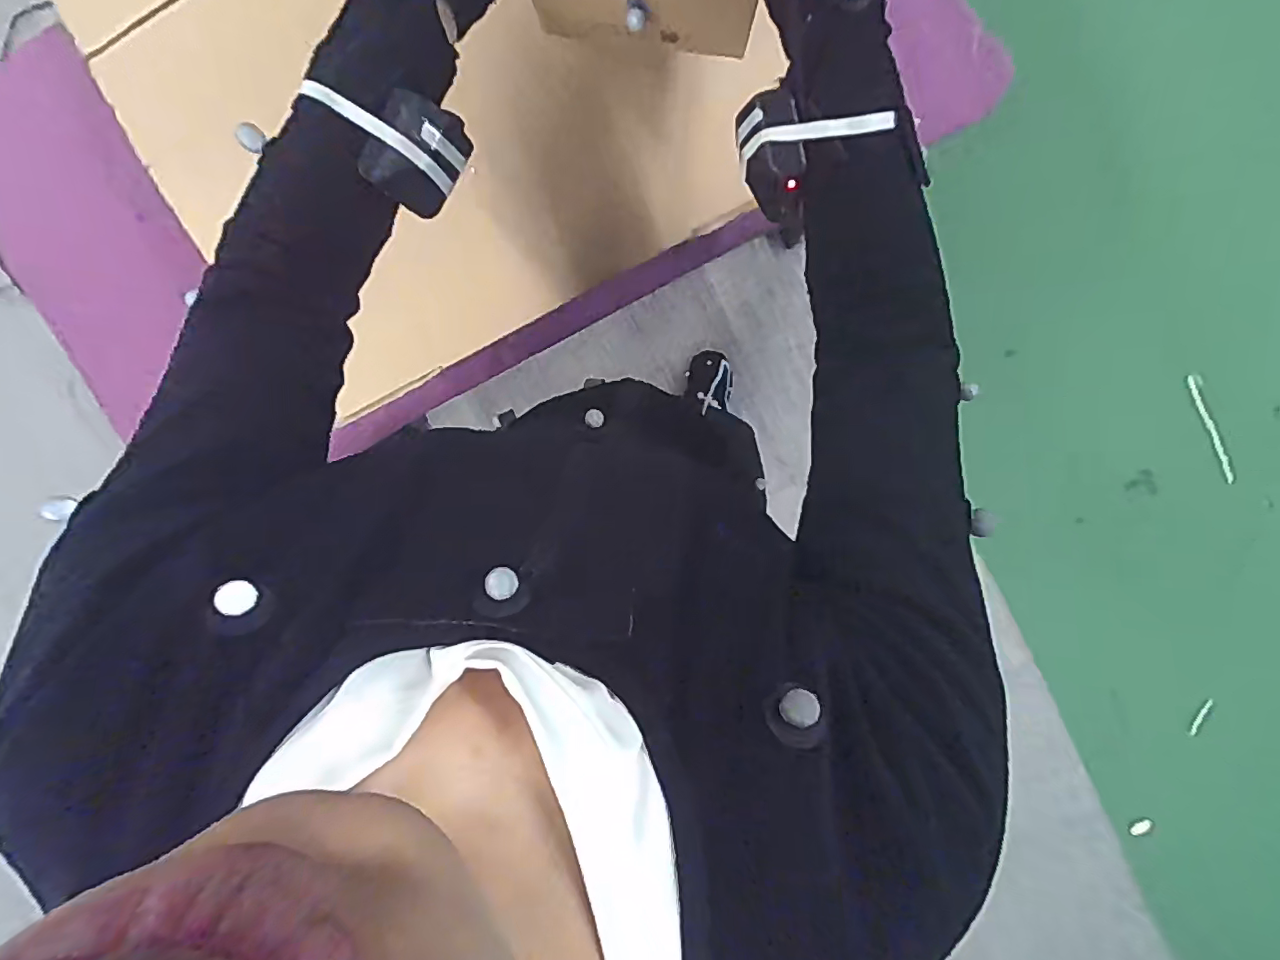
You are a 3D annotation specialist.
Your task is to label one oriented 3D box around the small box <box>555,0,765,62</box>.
[{"bbox_3d":[0.019,-0.420,0.345,0.168,0.176,0.179,10,103,1],"label":"small box"}]
